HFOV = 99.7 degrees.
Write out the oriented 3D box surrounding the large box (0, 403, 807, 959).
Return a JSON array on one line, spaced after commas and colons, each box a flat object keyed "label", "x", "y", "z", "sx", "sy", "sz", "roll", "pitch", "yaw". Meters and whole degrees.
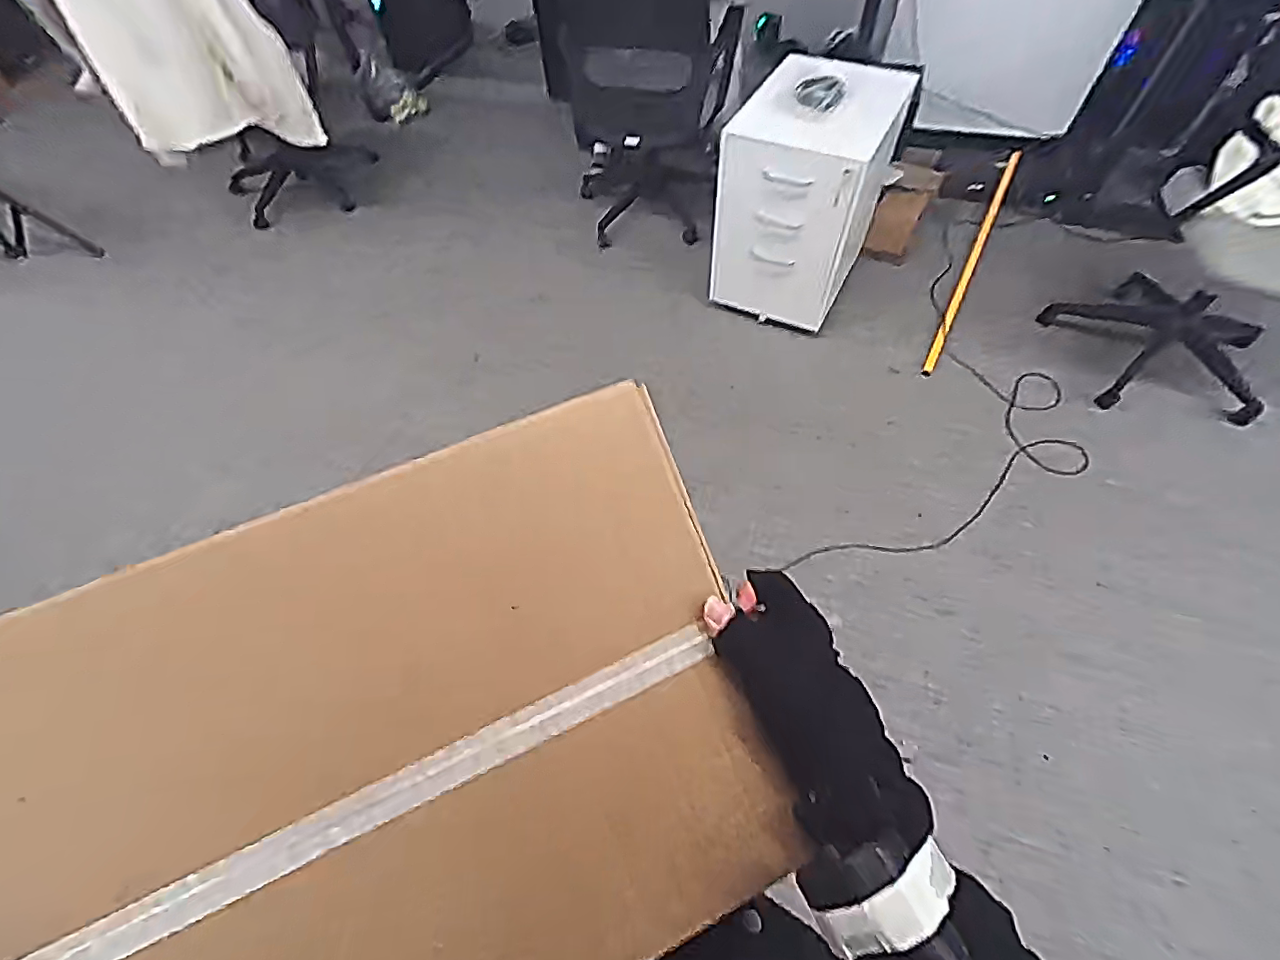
[{"label": "large box", "x": -0.152, "y": 0.167, "z": 0.448, "sx": 0.408, "sy": 0.320, "sz": 0.320, "roll": -22, "pitch": 93, "yaw": -11}]
